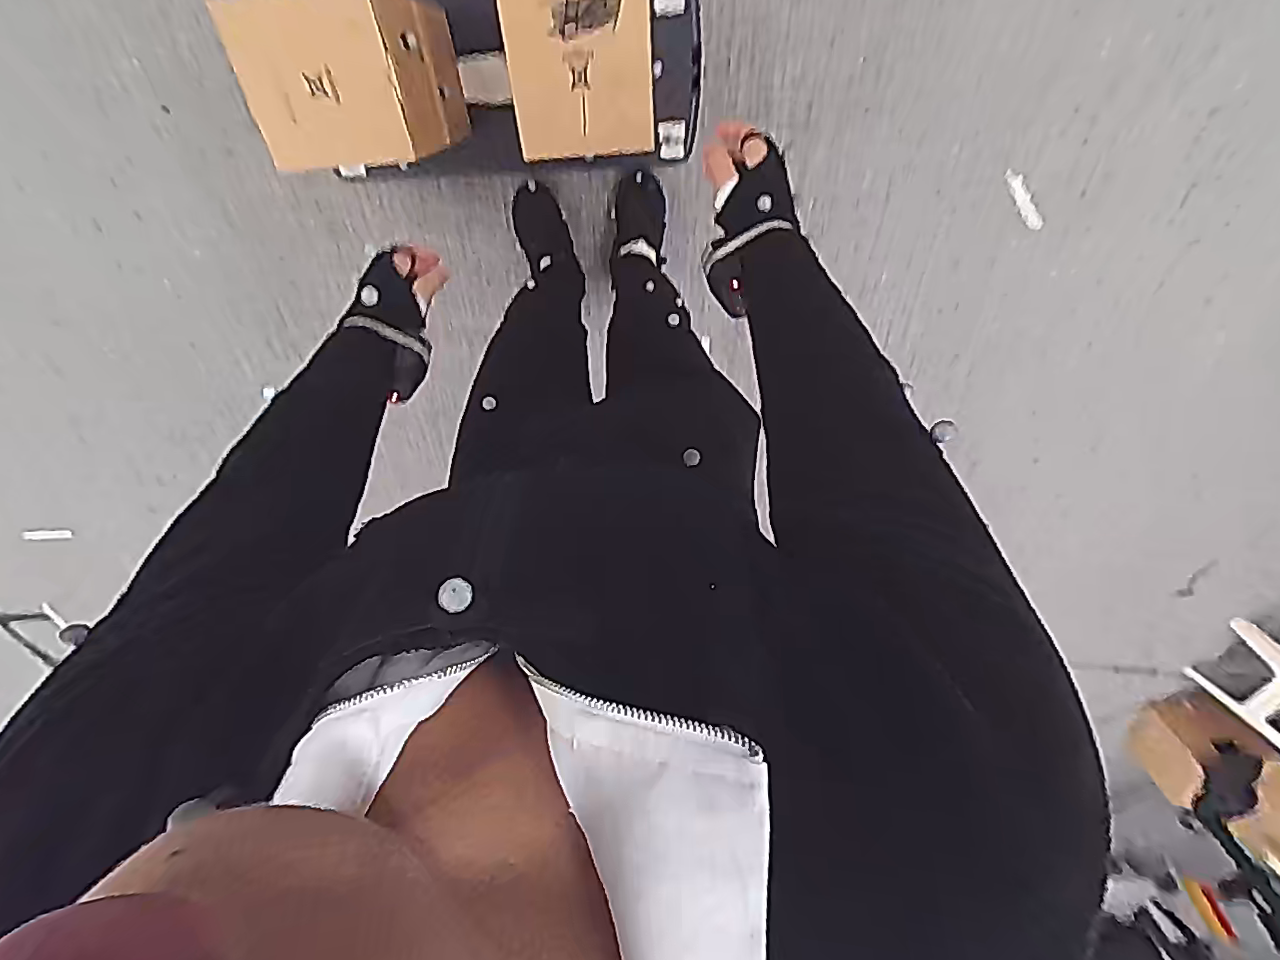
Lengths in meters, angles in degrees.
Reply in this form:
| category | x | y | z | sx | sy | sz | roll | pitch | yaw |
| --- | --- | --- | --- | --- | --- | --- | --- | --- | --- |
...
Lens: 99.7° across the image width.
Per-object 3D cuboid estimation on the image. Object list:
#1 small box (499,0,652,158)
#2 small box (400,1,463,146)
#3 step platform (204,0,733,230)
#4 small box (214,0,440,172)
| category | x | y | z | sx | sy | sz | roll | pitch | yaw |
| --- | --- | --- | --- | --- | --- | --- | --- | --- | --- |
| small box | -0.074 | -0.526 | 0.689 | 0.168 | 0.176 | 0.179 | -4 | 128 | 1 |
| small box | -0.379 | -0.606 | 0.822 | 0.179 | 0.176 | 0.168 | -5 | 128 | 0 |
| step platform | -0.217 | -0.564 | 0.815 | 0.684 | 0.204 | 0.286 | -4 | 127 | -1 |
| small box | -0.372 | -0.505 | 0.691 | 0.179 | 0.176 | 0.168 | -5 | 127 | 1 |
